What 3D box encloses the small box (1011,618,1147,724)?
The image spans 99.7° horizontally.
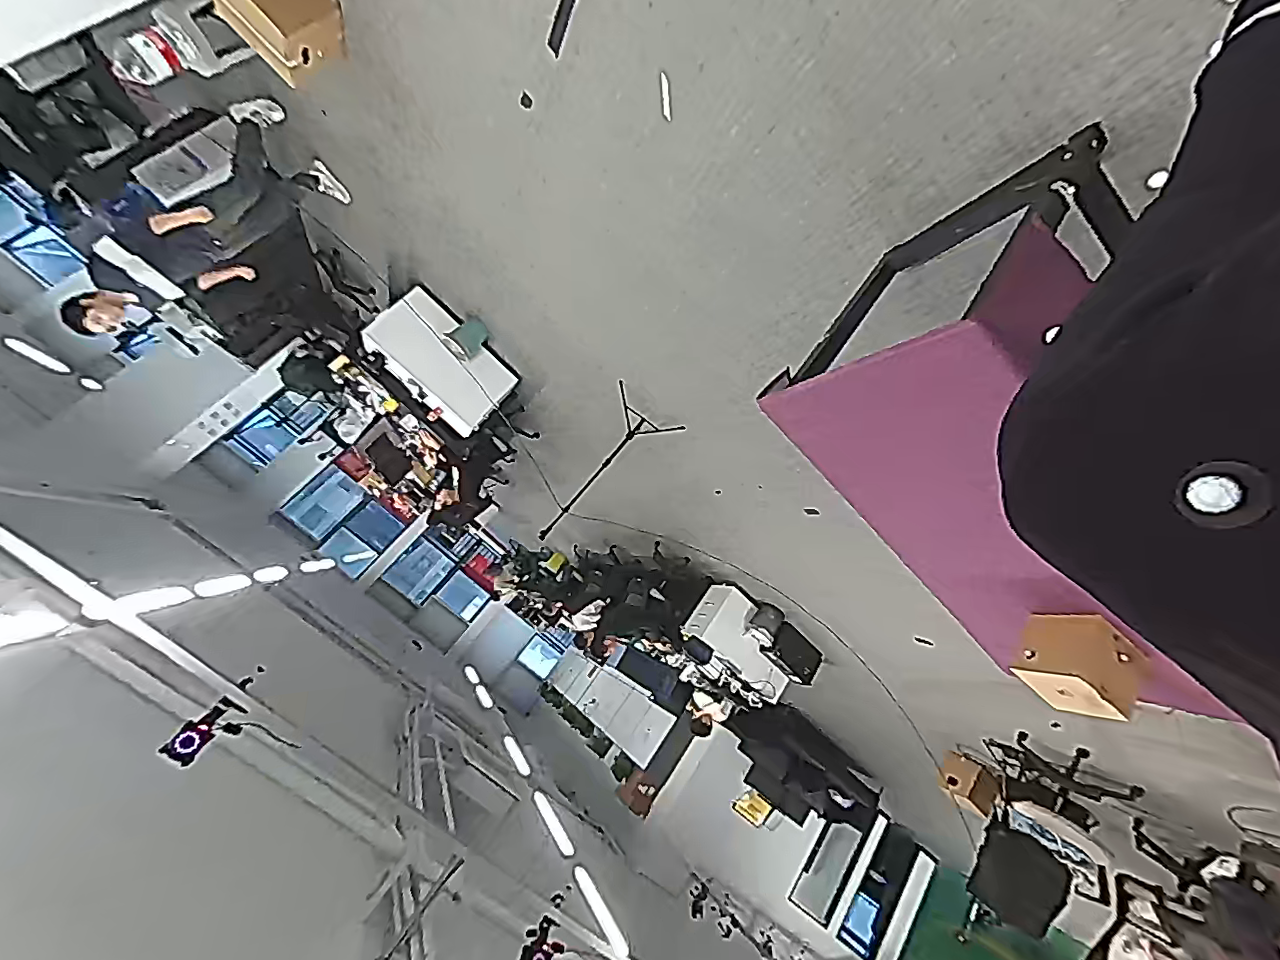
[{"bbox_3d":[1.053,0.446,1.298,0.168,0.176,0.179,40,159,-4],"label":"small box"}]
